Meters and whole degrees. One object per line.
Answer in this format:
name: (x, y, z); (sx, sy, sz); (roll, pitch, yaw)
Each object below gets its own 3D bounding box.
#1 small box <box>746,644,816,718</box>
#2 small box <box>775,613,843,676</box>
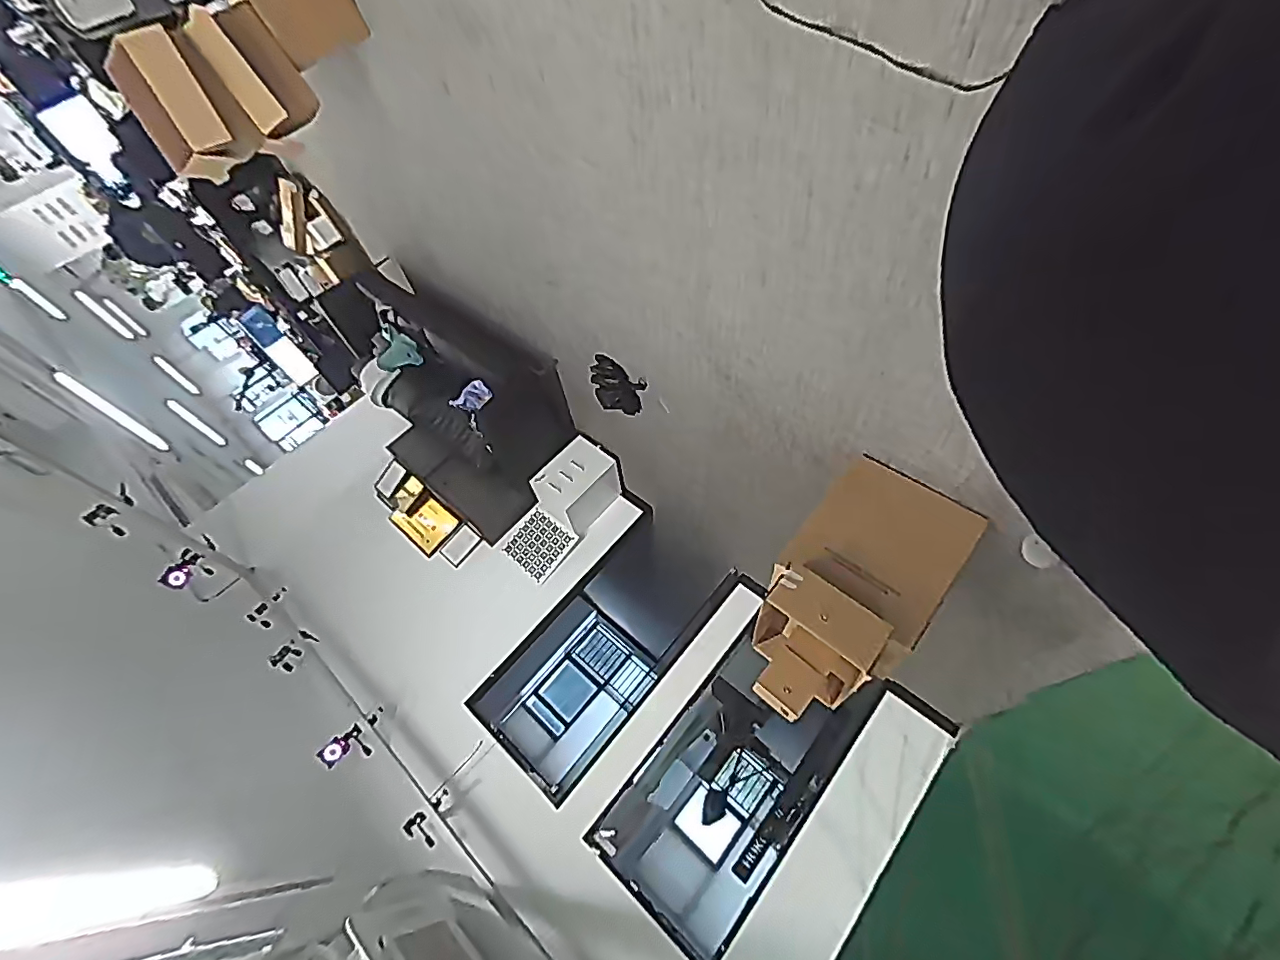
small box: (0.507, 0.724, 1.947); (0.179, 0.176, 0.168); (38, 160, 23)
small box: (0.618, 0.616, 2.002); (0.179, 0.176, 0.168); (37, 161, 26)
